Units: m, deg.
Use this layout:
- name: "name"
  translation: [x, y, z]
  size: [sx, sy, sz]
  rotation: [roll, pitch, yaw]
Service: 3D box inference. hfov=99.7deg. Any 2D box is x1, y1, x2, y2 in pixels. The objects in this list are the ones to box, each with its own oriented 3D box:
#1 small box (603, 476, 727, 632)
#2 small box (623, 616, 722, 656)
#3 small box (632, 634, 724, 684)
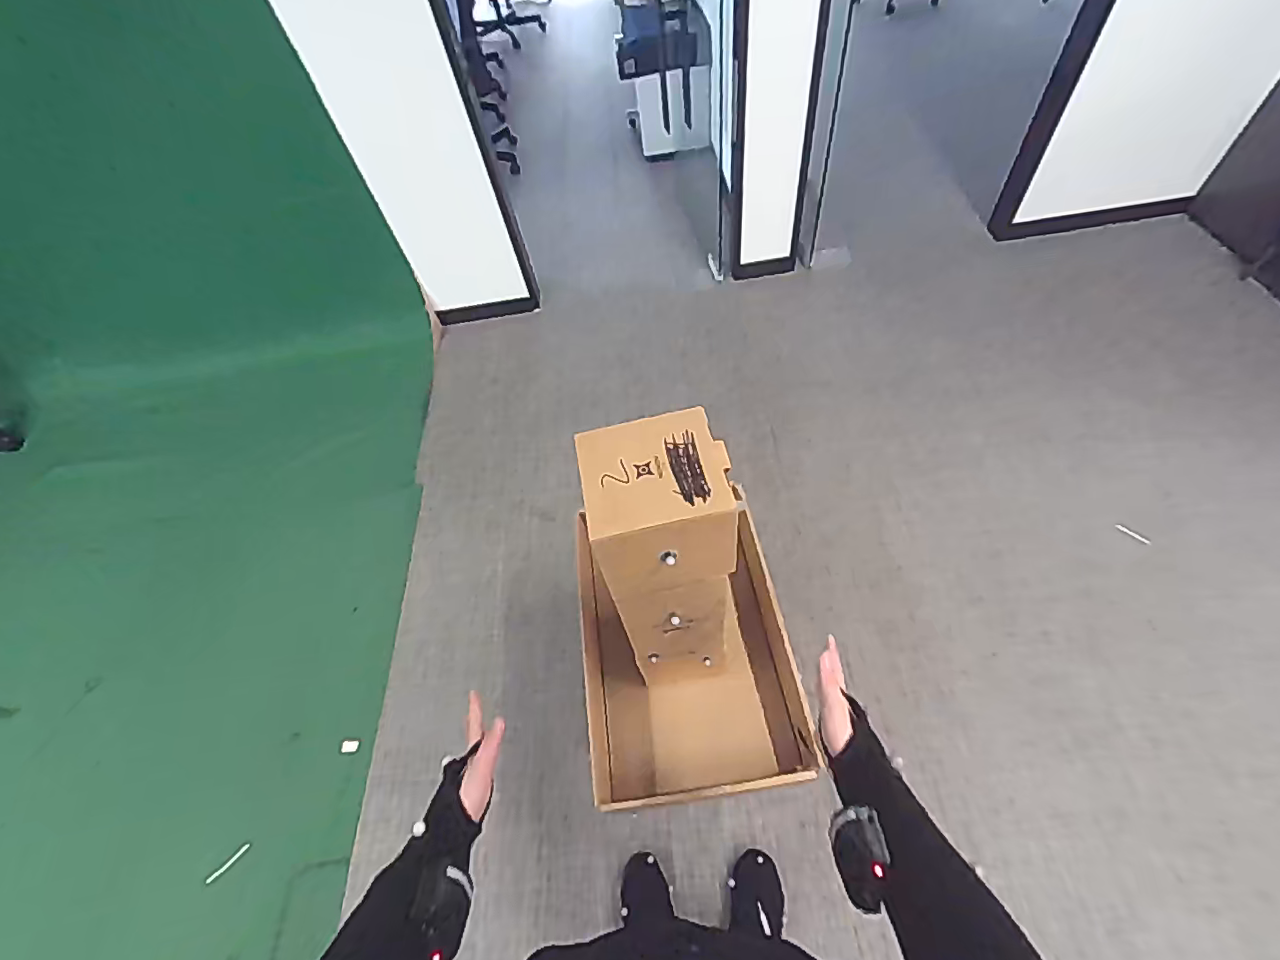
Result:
- name: "small box"
  translation: [0.039, 0.120, 0.857]
  size: [0.168, 0.176, 0.179]
  rotation: [-9, 54, 2]
- name: "small box"
  translation: [0.058, 0.212, 0.992]
  size: [0.168, 0.176, 0.179]
  rotation: [-7, 54, 2]
- name: "small box"
  translation: [0.075, 0.311, 1.122]
  size: [0.179, 0.176, 0.168]
  rotation: [-9, 54, 1]
